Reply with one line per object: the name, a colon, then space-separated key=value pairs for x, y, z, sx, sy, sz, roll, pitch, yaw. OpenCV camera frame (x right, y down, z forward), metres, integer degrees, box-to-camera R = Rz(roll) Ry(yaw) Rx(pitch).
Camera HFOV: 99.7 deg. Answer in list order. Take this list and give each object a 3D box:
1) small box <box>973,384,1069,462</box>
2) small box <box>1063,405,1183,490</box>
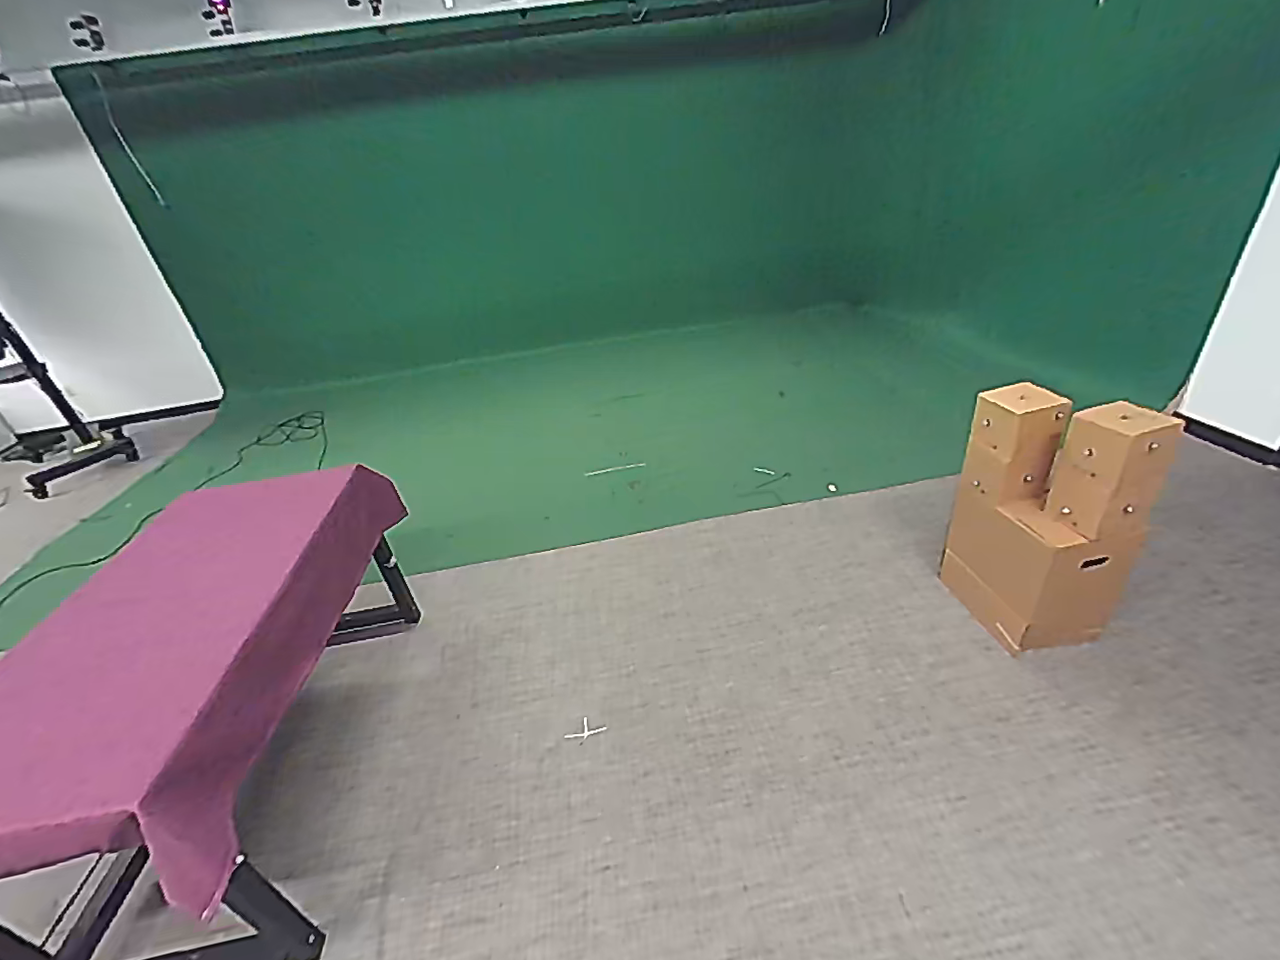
small box: x=1.168 y=-0.174 z=1.674 sx=0.179 sy=0.176 sz=0.168 roll=-14 pitch=33 yaw=-6
small box: x=1.320 y=-0.089 z=1.497 sx=0.179 sy=0.176 sz=0.168 roll=-13 pitch=31 yaw=-9
